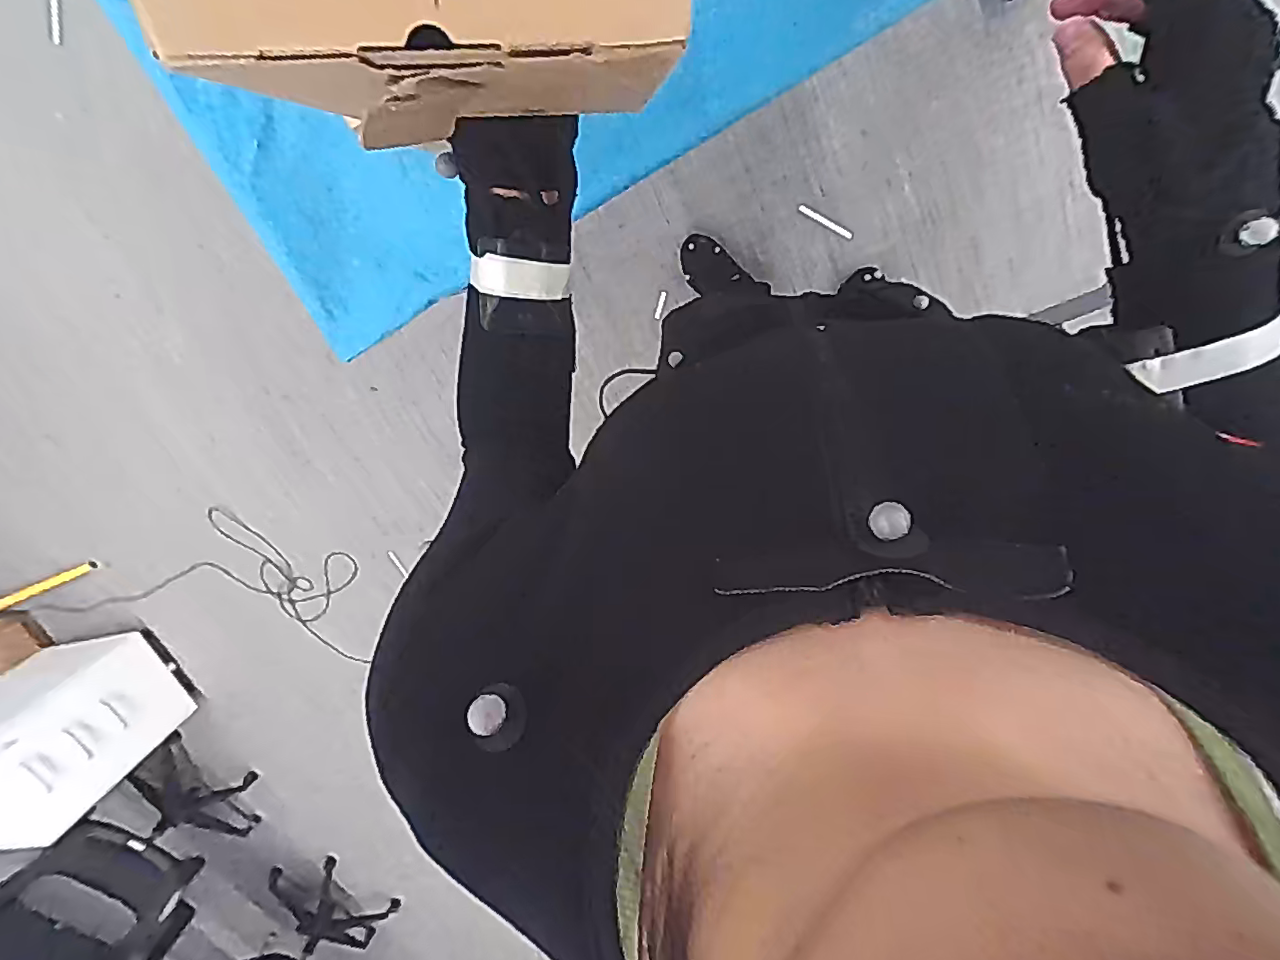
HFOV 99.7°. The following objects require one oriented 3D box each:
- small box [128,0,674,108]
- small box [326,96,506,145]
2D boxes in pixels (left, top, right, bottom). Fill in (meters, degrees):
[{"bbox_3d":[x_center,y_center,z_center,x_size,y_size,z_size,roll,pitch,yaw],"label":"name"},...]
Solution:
[{"bbox_3d":[-0.076,-0.245,0.197,0.168,0.176,0.179,-4,119,-3],"label":"small box"},{"bbox_3d":[-0.215,-0.447,0.506,0.168,0.176,0.179,-19,113,18],"label":"small box"}]
